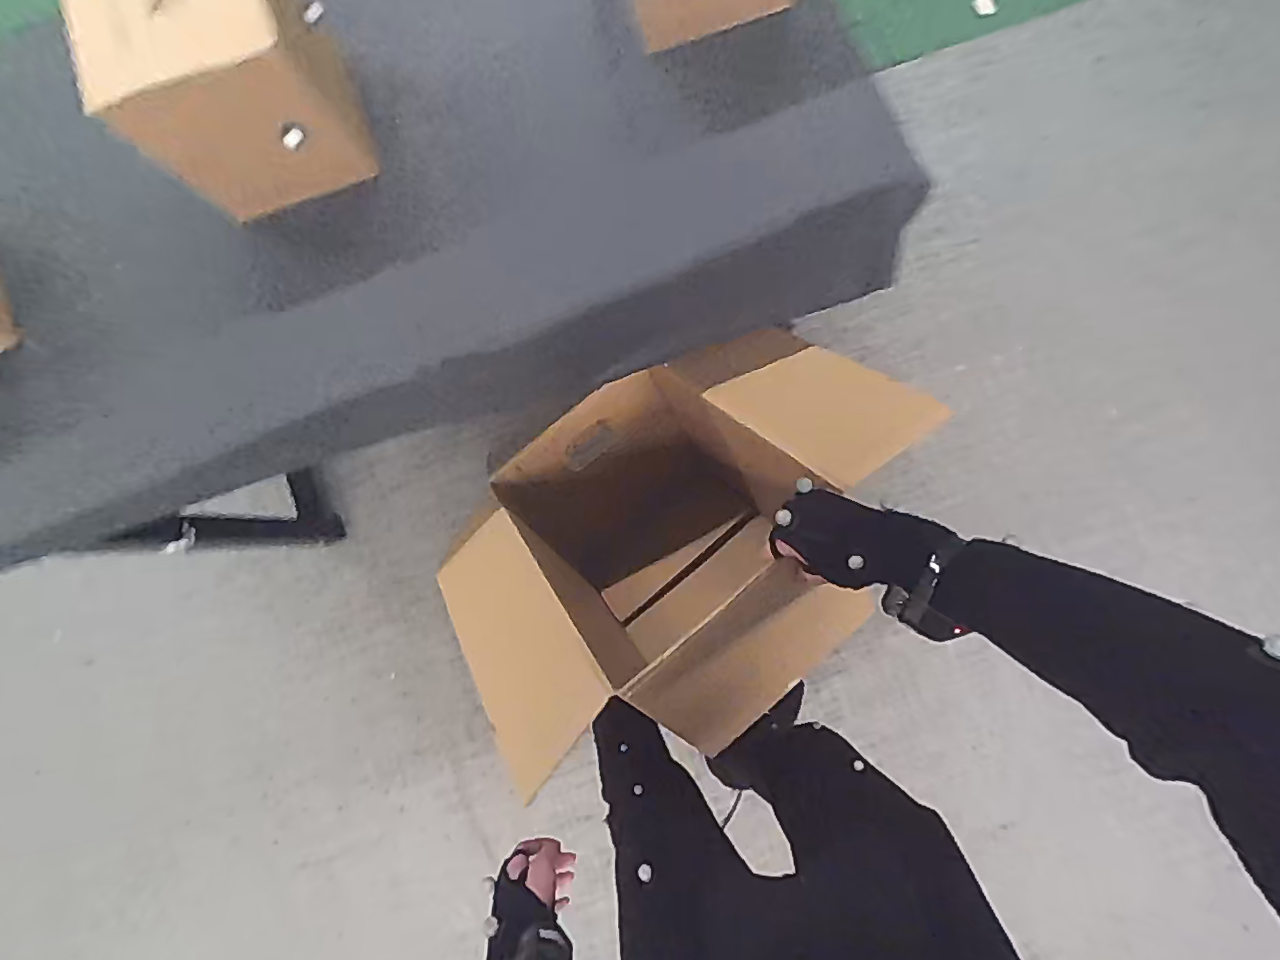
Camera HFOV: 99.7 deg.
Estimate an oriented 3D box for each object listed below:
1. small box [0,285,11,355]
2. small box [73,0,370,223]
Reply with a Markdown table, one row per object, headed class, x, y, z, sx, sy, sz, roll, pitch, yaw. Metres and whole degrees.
| class | x | y | z | sx | sy | sz | roll | pitch | yaw |
| --- | --- | --- | --- | --- | --- | --- | --- | --- | --- |
| small box | -0.822 | -0.201 | 0.554 | 0.179 | 0.176 | 0.168 | -27 | 82 | -1 |
| small box | -0.408 | -0.405 | 0.557 | 0.179 | 0.176 | 0.168 | -19 | 82 | 2 |
